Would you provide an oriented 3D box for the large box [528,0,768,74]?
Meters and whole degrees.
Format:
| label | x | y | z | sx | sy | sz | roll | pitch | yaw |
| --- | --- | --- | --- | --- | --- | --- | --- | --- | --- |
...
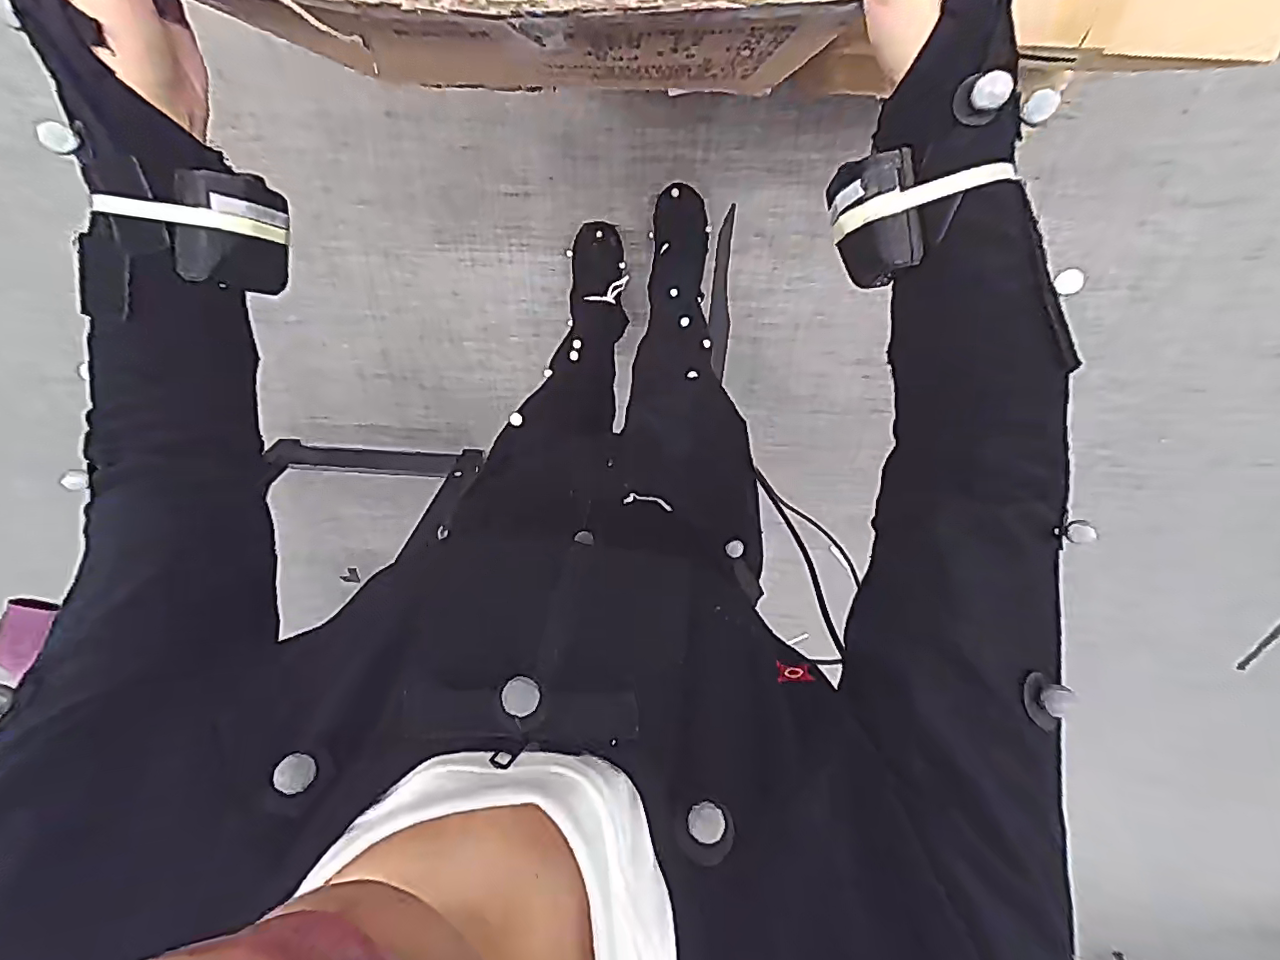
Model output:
| label | x | y | z | sx | sy | sz | roll | pitch | yaw |
| --- | --- | --- | --- | --- | --- | --- | --- | --- | --- |
| large box | 0.015 | -0.806 | 0.733 | 0.320 | 0.320 | 0.408 | 3 | 126 | 3 |
